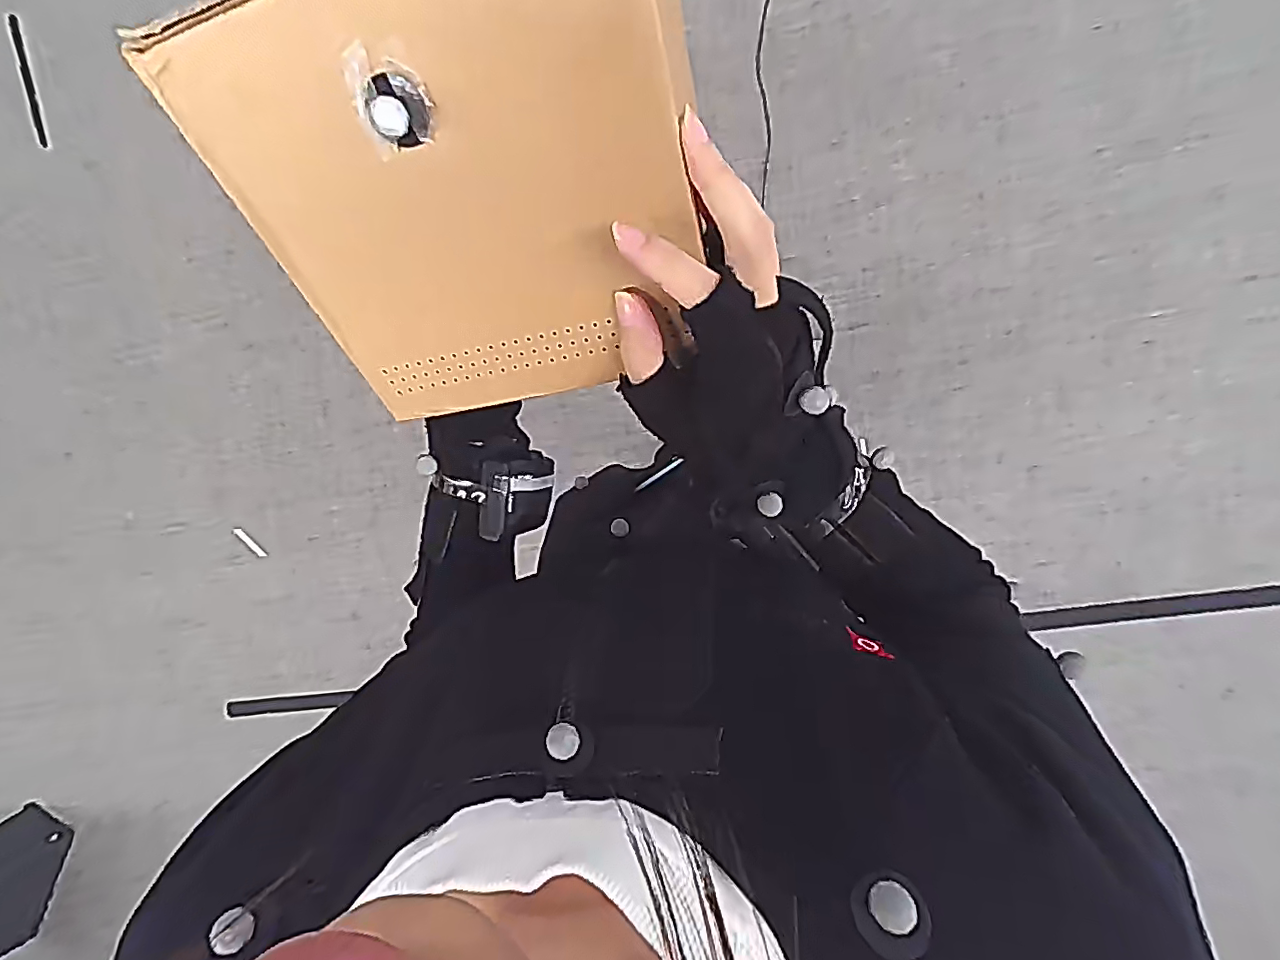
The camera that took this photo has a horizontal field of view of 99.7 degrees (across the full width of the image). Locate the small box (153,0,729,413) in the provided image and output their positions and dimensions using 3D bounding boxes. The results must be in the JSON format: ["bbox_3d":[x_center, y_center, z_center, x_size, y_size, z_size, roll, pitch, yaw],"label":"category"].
[{"bbox_3d":[-0.058,-0.151,0.272,0.179,0.168,0.176,-8,135,14],"label":"small box"}]
